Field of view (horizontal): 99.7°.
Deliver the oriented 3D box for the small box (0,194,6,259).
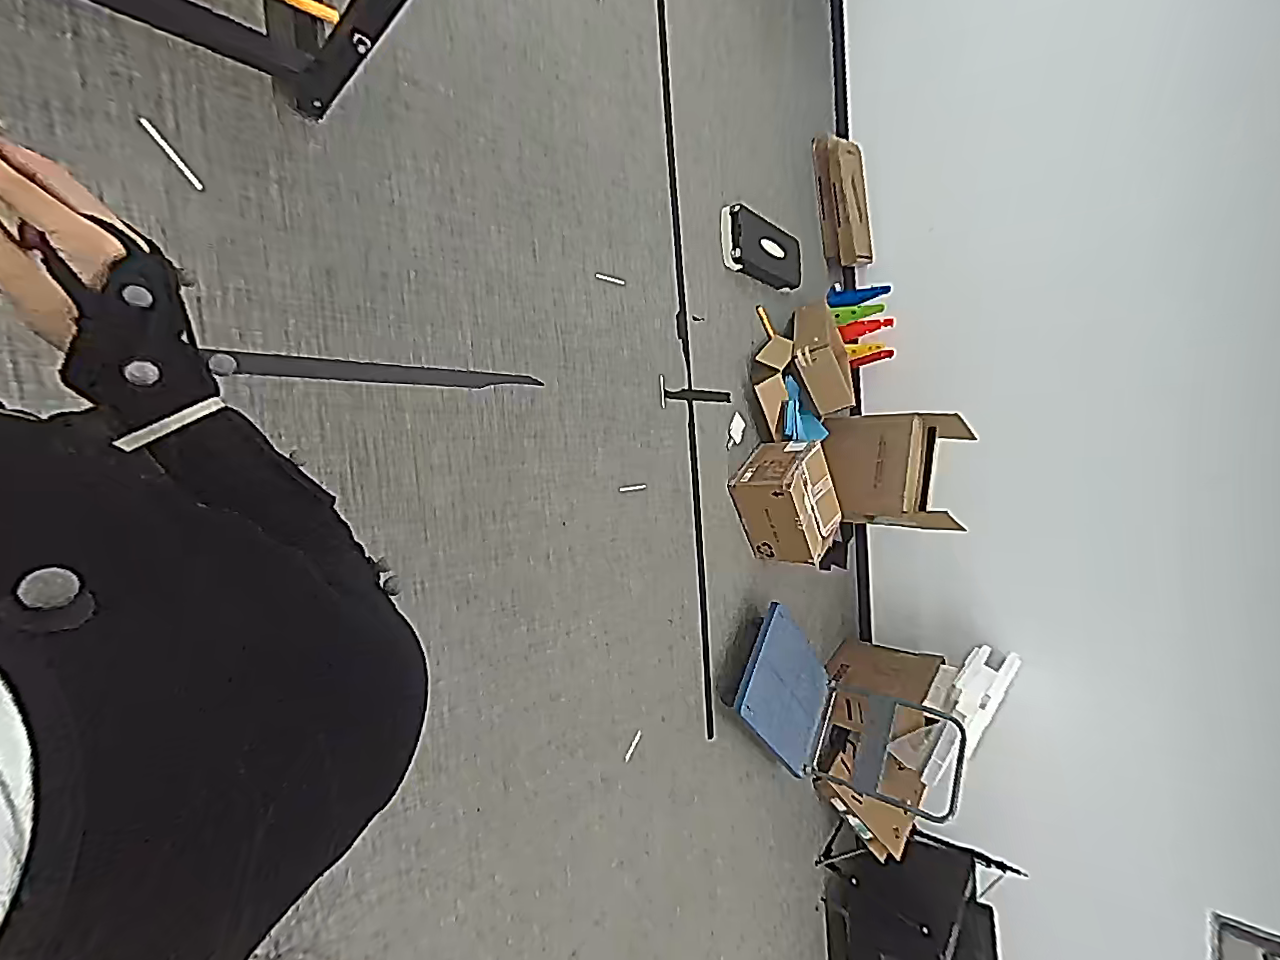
[{"bbox_3d":[-0.469,-0.217,0.273,0.179,0.176,0.168,-9,85,-42],"label":"small box"}]
